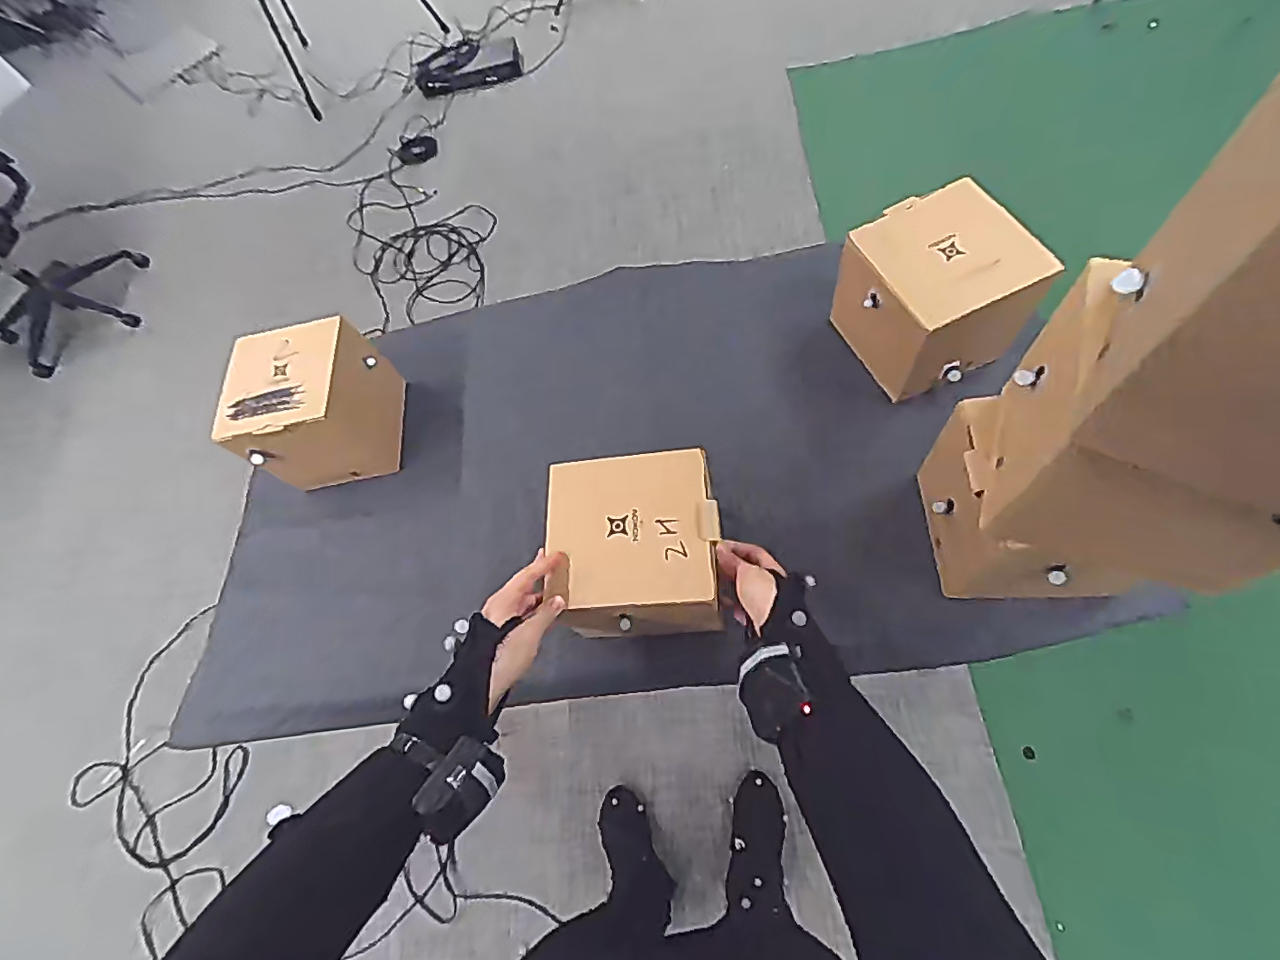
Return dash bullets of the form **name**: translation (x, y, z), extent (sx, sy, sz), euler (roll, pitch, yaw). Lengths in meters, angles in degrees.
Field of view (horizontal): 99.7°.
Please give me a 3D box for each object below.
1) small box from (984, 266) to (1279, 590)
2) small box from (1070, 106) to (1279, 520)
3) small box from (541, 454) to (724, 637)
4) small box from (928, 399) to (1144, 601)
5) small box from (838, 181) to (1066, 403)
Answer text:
- **small box**: translation (0.398, -0.032, 0.418), extent (0.179, 0.176, 0.168), euler (17, 67, 18)
- **small box**: translation (0.368, -0.085, 0.263), extent (0.179, 0.176, 0.168), euler (27, 71, 23)
- **small box**: translation (0.001, 0.086, 0.628), extent (0.179, 0.176, 0.168), euler (-5, 66, 10)
- **small box**: translation (0.423, 0.027, 0.568), extent (0.179, 0.176, 0.168), euler (-3, 63, 11)
- **small box**: translation (0.377, -0.233, 0.699), extent (0.168, 0.176, 0.179), euler (-26, 65, 2)
